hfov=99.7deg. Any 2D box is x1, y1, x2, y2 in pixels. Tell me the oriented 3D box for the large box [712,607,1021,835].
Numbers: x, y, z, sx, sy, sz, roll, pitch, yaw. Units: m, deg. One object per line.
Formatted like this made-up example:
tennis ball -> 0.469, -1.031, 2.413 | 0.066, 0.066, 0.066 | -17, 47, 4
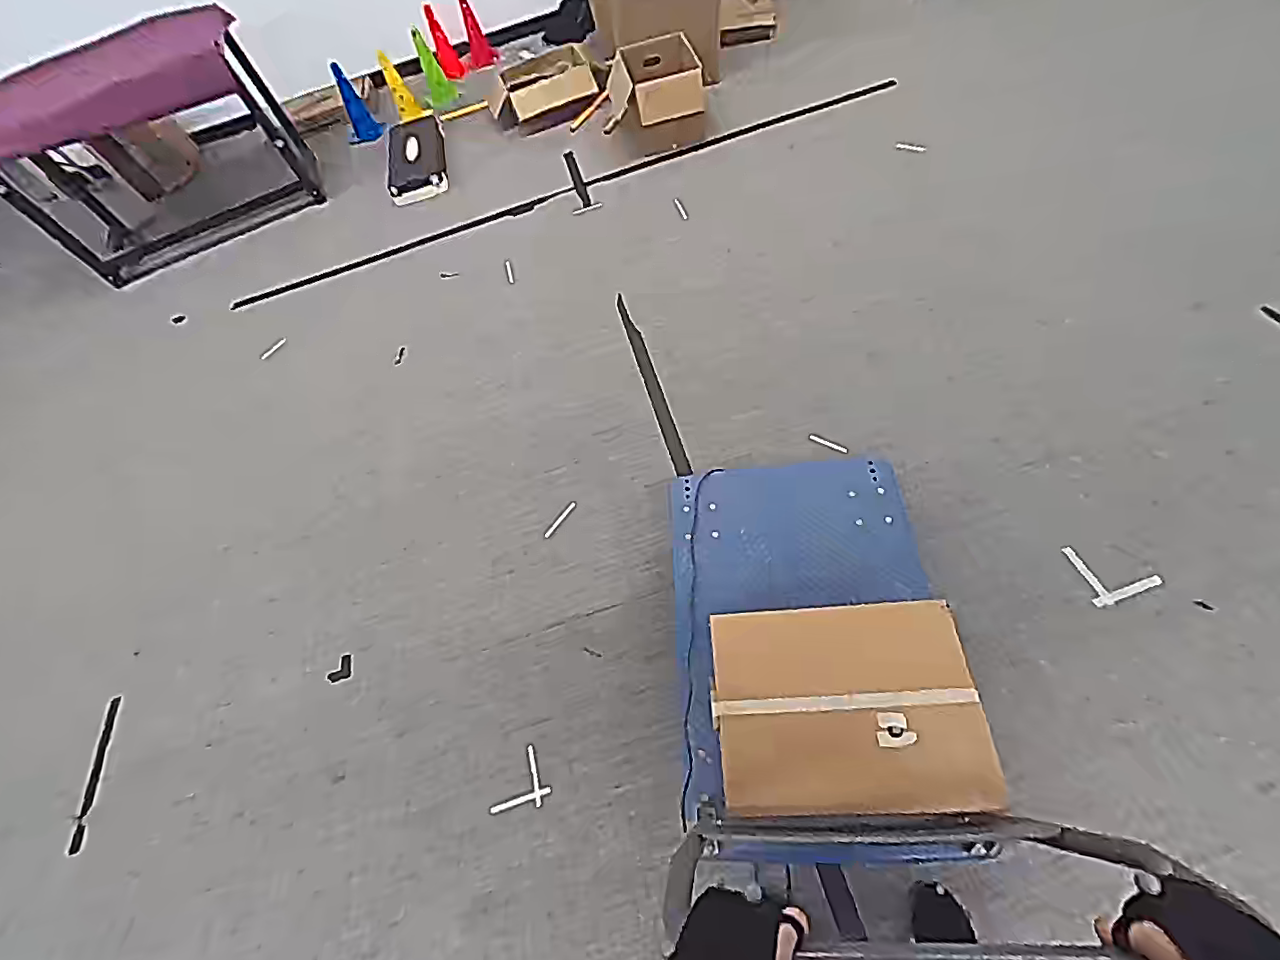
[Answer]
large box -> 0.351, 0.442, 0.973 | 0.408, 0.320, 0.320 | -6, 59, 7
